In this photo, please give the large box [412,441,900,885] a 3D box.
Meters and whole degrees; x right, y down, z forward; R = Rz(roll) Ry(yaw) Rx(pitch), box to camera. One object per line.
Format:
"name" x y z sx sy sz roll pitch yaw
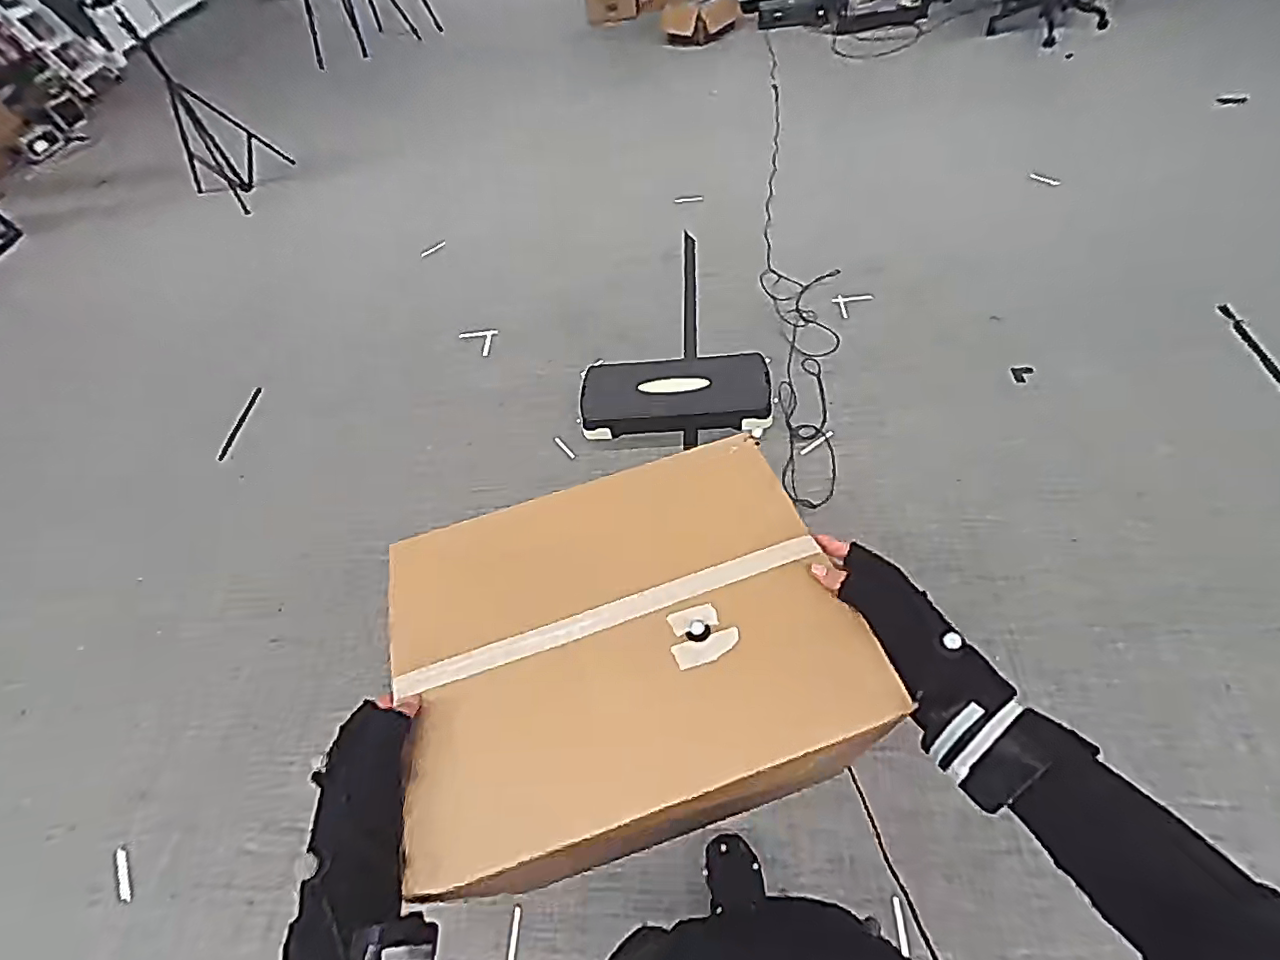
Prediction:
"large box" 0.000 0.216 0.629 0.408 0.320 0.320 -17 53 -5
